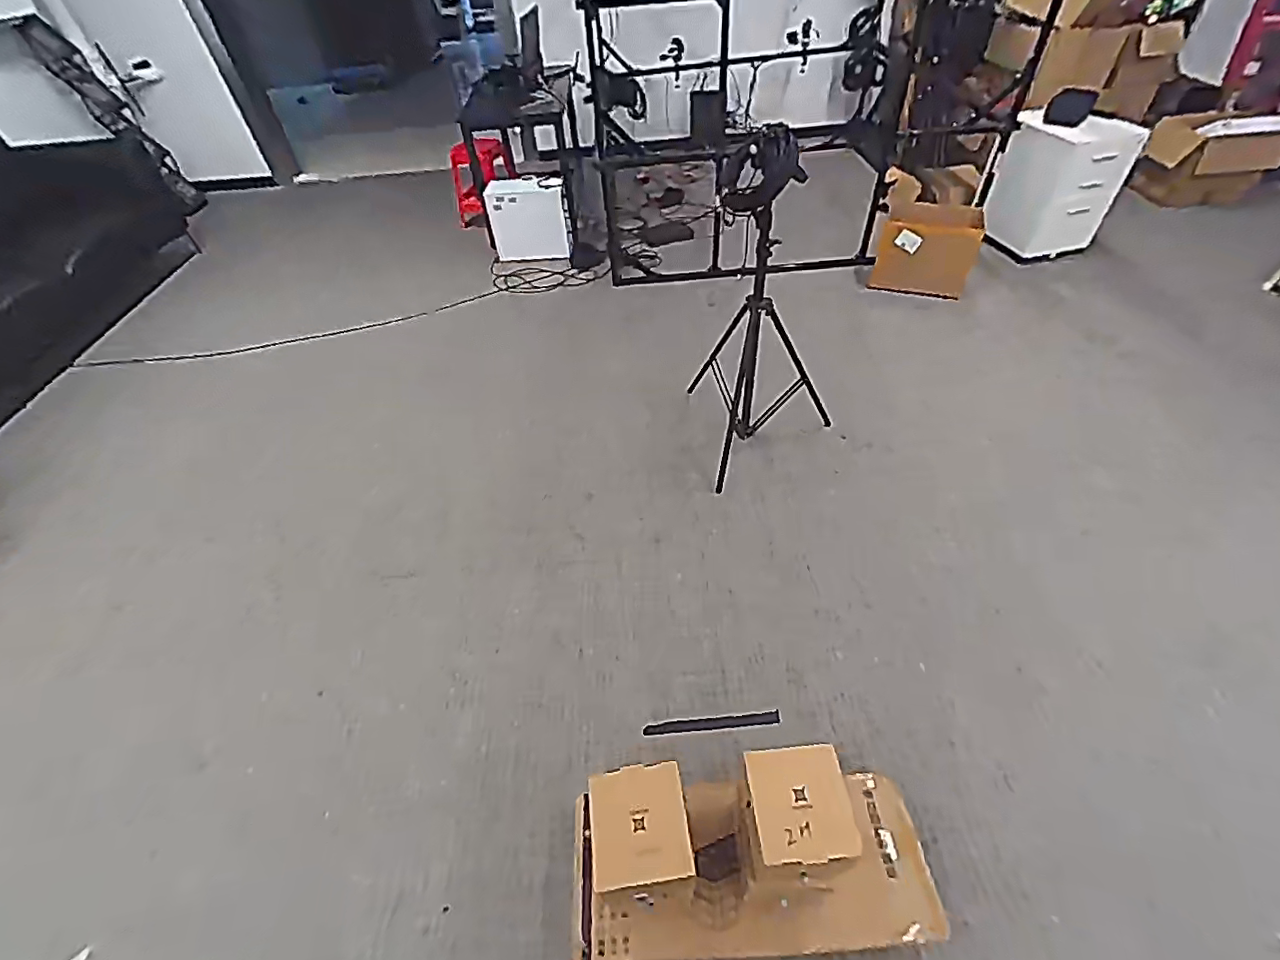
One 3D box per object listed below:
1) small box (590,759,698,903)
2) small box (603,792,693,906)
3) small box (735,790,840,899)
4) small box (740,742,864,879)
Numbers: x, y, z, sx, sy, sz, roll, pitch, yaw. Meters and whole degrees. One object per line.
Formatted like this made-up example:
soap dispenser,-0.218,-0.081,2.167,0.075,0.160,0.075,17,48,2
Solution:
small box,0.006,0.637,0.979,0.168,0.176,0.179,-9,47,-3
small box,0.019,0.749,1.097,0.168,0.176,0.179,-4,47,2
small box,0.287,0.728,1.095,0.168,0.176,0.179,-3,47,4
small box,0.280,0.603,0.985,0.168,0.176,0.179,-6,46,0
